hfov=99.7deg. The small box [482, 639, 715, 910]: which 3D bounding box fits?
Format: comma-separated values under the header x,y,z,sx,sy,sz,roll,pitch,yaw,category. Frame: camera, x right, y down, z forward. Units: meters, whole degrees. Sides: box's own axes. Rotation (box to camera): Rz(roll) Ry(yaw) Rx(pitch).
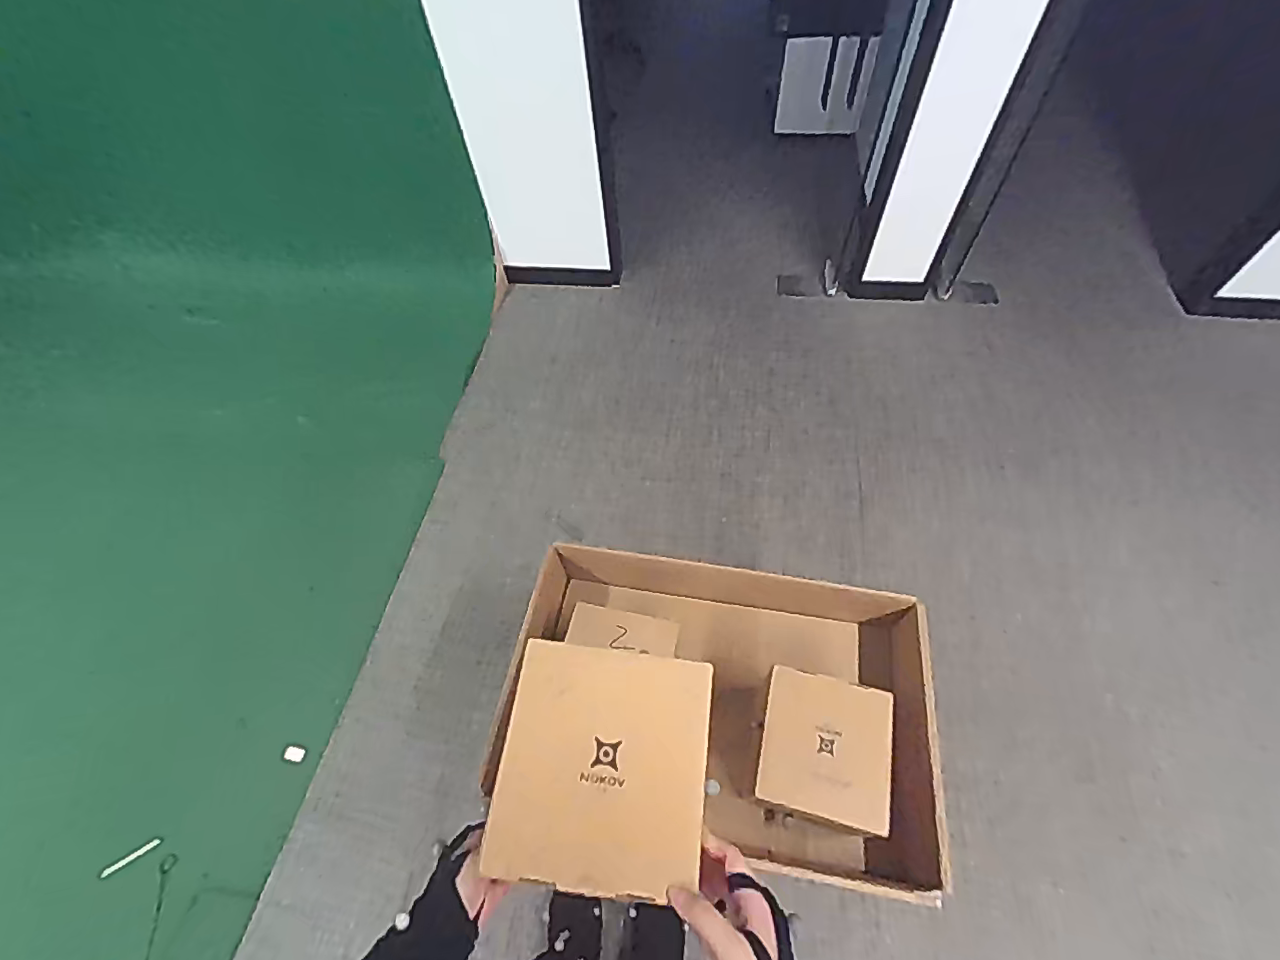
x,y,z,sx,sy,sz,roll,pitch,yaw,category
-0.030,0.266,0.509,0.168,0.176,0.179,8,62,2,small box
